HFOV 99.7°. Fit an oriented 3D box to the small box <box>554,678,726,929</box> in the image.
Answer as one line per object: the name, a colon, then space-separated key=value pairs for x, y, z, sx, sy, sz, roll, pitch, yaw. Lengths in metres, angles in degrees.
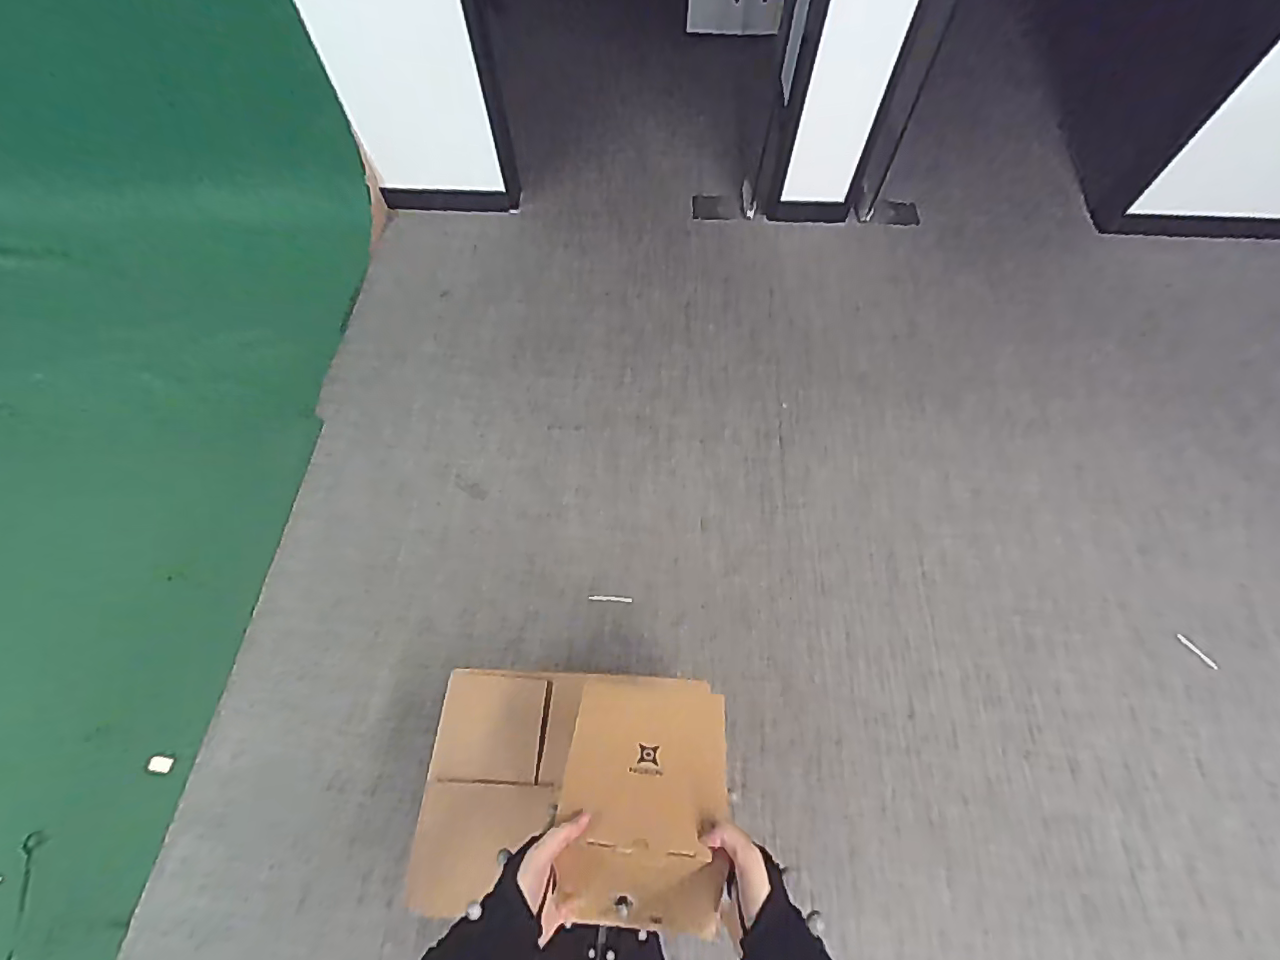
small box: x=0.003 y=0.358 z=0.611 sx=0.168 sy=0.176 sz=0.179 roll=6 pitch=33 yaw=4
